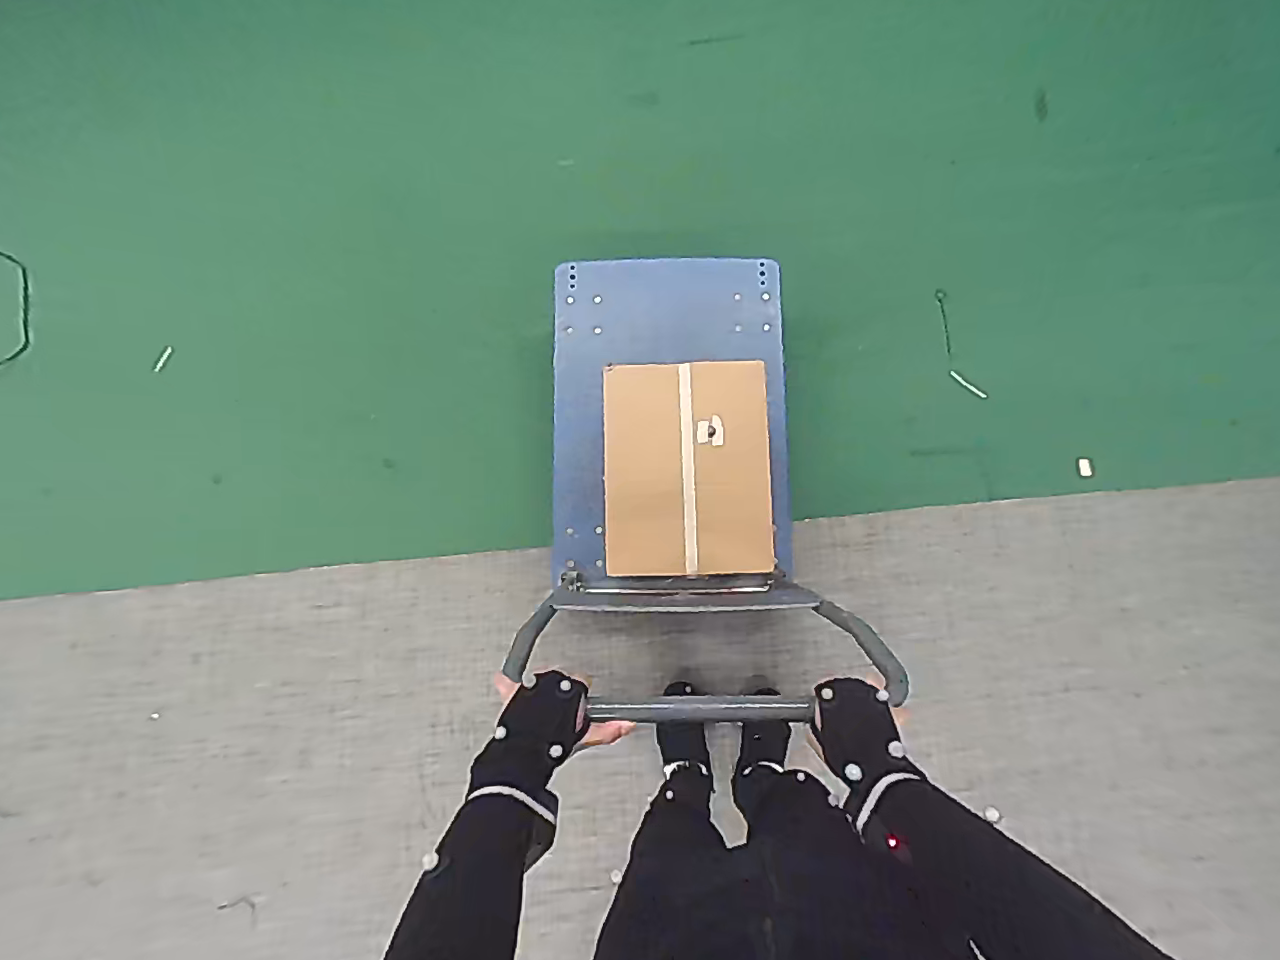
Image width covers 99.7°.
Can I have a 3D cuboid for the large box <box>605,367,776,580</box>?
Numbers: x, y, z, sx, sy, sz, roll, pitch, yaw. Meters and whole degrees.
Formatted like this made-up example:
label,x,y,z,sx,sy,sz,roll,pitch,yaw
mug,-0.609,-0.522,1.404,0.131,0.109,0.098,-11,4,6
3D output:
label,x,y,z,sx,sy,sz,roll,pitch,yaw
large box,0.097,0.002,1.172,0.320,0.320,0.408,-1,83,0
